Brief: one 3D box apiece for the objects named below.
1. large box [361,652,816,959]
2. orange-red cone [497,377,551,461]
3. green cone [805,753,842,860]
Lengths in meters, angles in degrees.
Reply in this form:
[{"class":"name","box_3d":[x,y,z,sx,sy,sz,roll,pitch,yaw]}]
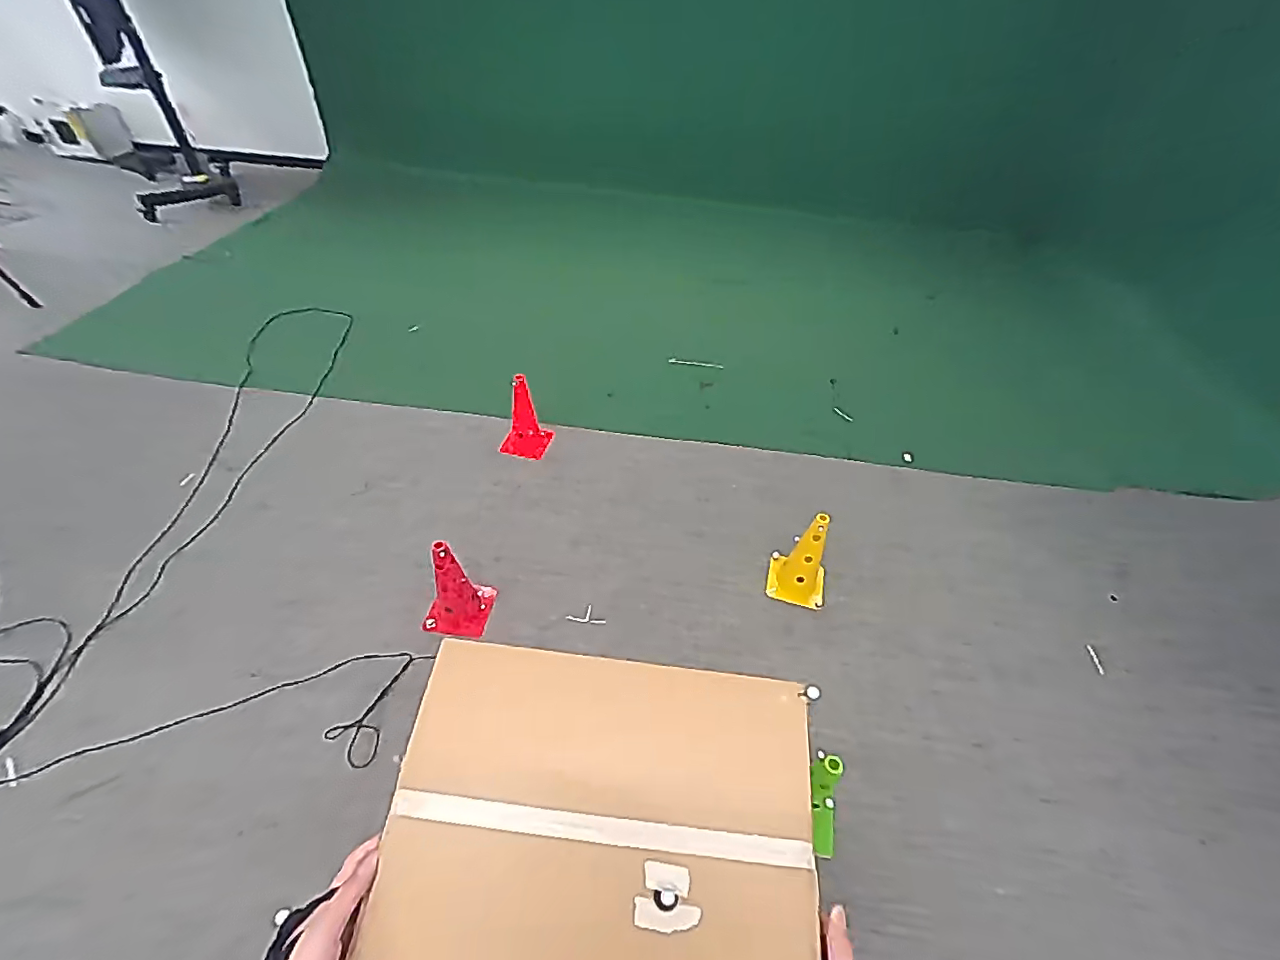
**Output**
[{"class":"large box","box_3d":[-0.041,0.418,0.646,0.408,0.320,0.320,6,59,1]},{"class":"orange-red cone","box_3d":[-0.517,-0.282,2.325,0.199,0.360,0.198,11,45,9]},{"class":"green cone","box_3d":[0.433,0.775,1.351,0.200,0.368,0.202,11,44,6]}]
